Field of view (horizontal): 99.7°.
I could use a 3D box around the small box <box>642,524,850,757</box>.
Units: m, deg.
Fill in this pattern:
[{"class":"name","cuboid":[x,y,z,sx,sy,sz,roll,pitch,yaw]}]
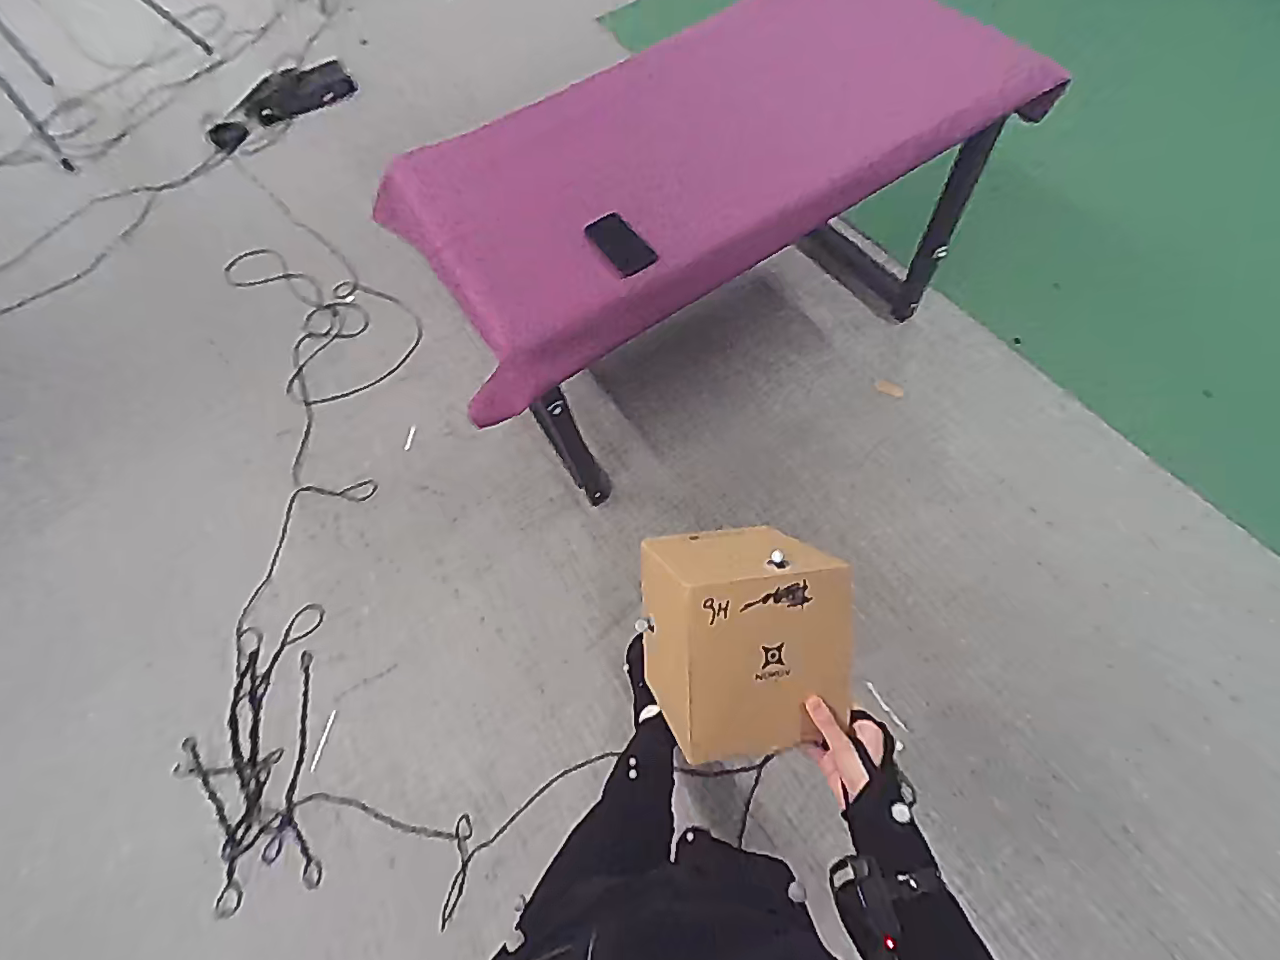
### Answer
[{"class":"small box","cuboid":[0.100,0.154,0.577,0.168,0.176,0.179,-4,99,-13]}]
